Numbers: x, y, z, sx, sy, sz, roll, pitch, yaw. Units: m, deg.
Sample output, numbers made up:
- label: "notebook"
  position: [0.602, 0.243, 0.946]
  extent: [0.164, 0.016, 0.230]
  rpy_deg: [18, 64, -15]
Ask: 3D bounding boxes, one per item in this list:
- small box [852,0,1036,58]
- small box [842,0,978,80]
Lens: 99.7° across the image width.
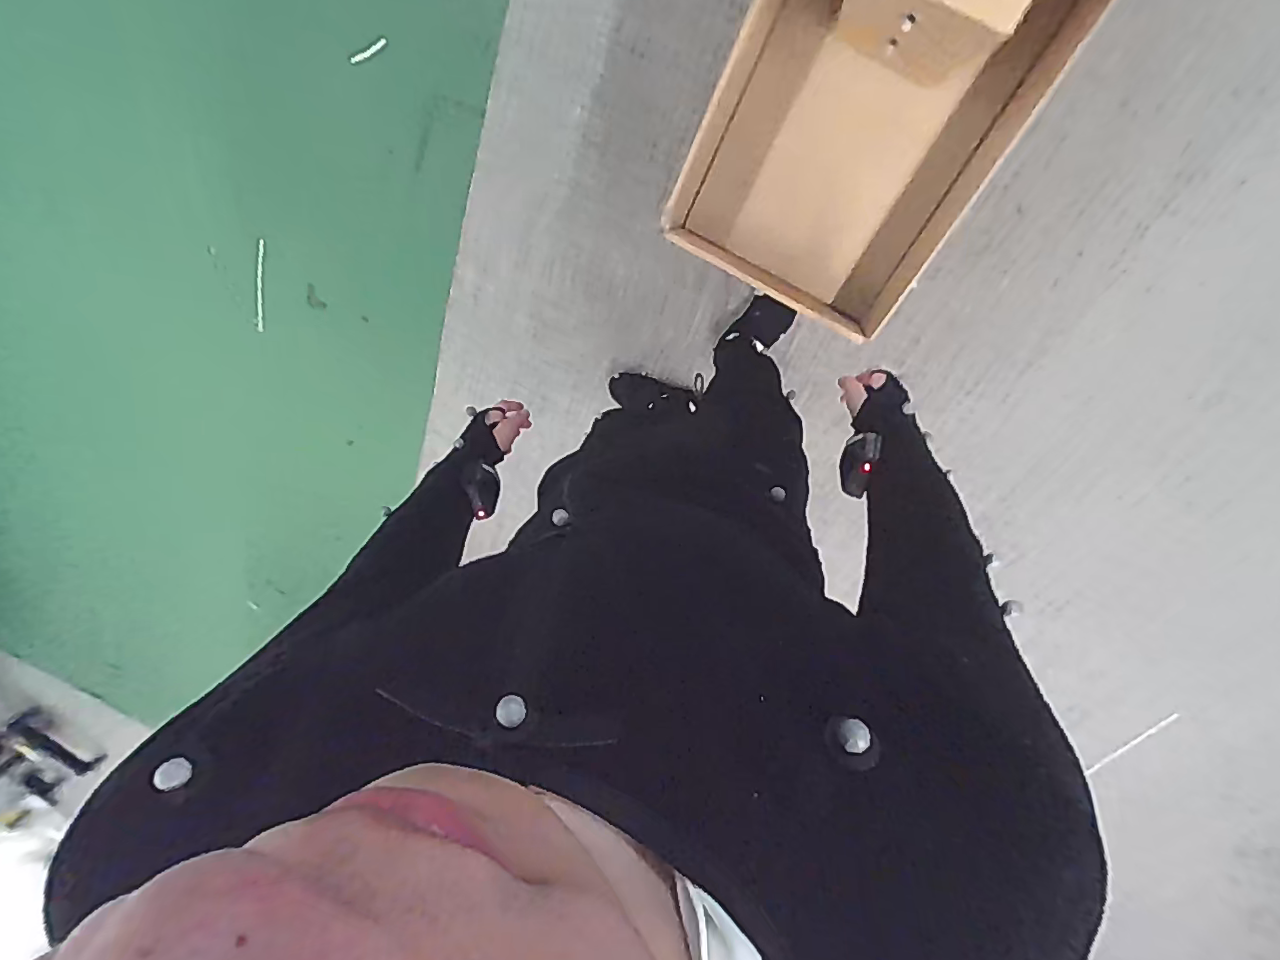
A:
- label: "small box"
  position: [0.346, -0.578, 0.565]
  extent: [0.179, 0.176, 0.168]
  rpy_deg: [28, 121, 2]
- label: "small box"
  position: [0.389, -0.655, 0.704]
  extent: [0.179, 0.176, 0.168]
  rpy_deg: [29, 121, 0]
